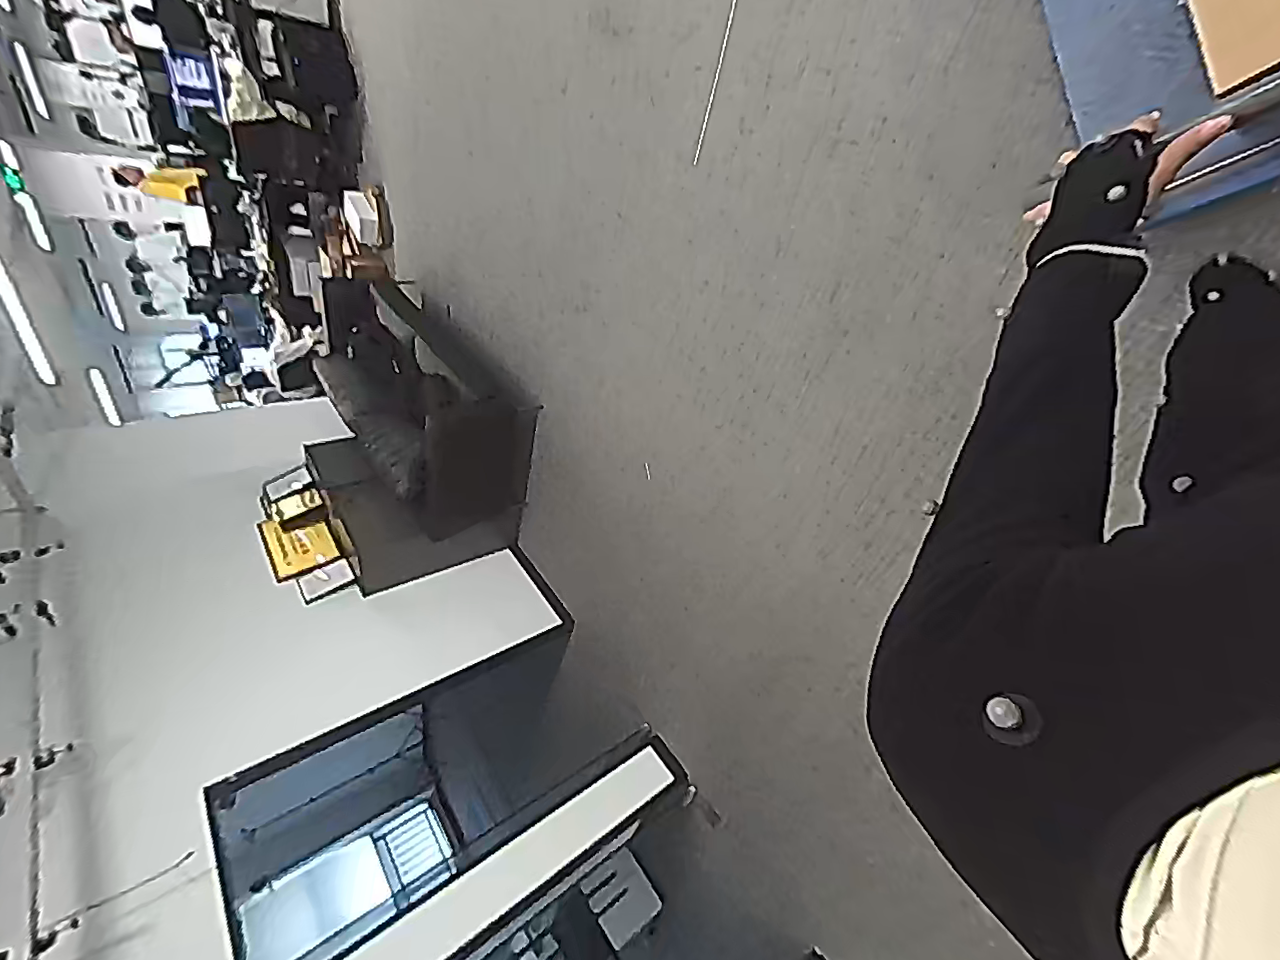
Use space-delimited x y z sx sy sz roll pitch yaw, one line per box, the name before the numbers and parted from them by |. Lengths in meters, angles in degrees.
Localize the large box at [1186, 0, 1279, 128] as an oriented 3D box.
large box | 0.959 -0.785 0.727 0.320 0.320 0.408 -16 89 52
